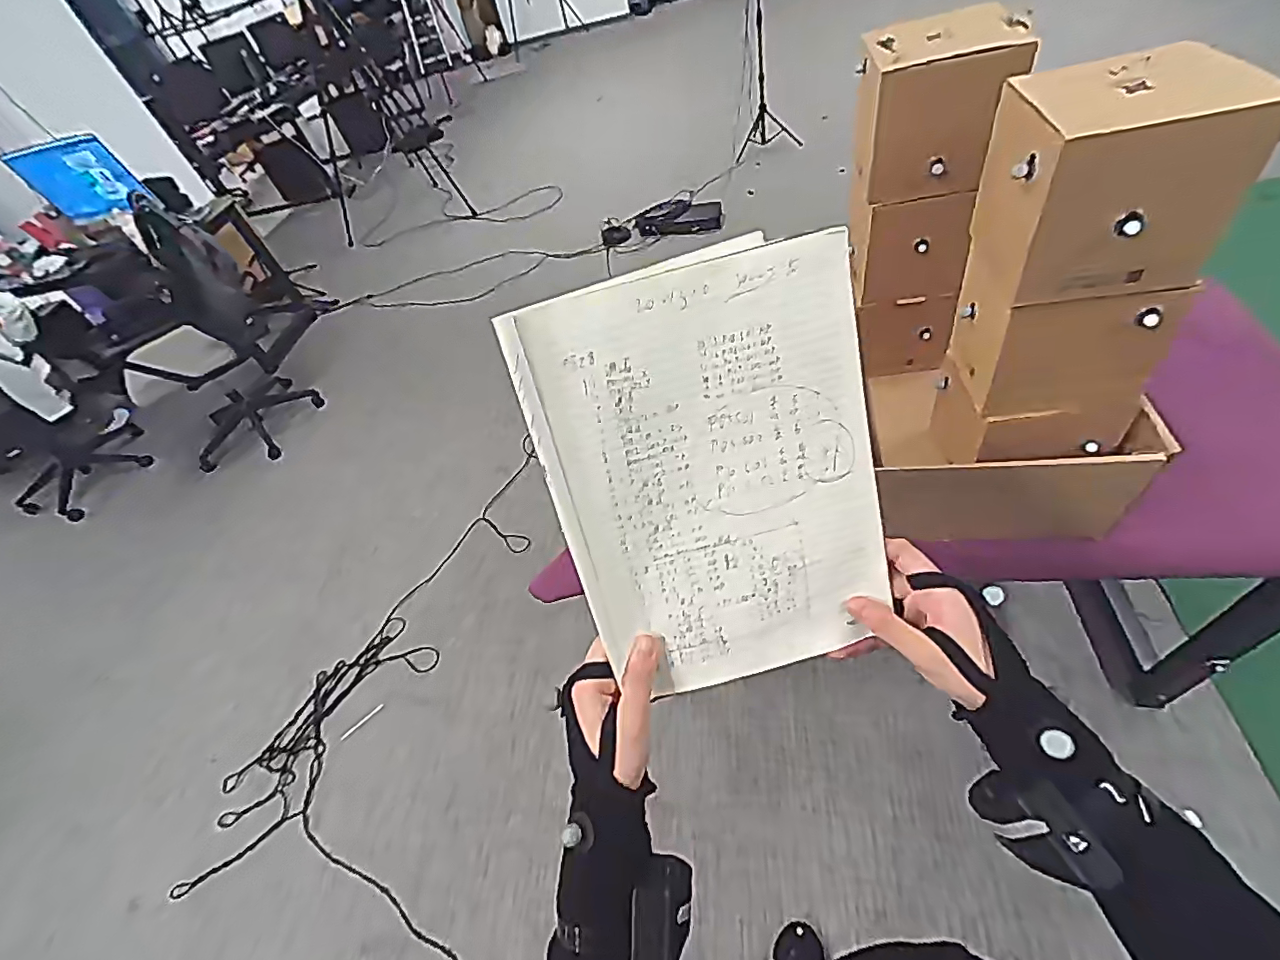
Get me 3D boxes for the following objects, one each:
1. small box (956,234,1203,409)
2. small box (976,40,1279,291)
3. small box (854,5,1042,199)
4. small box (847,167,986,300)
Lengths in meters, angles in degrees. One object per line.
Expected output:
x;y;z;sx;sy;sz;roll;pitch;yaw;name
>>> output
0.515;-0.203;0.674;0.179;0.176;0.168;-2;49;14;small box
0.473;-0.309;0.555;0.168;0.176;0.179;-2;48;14;small box
0.411;-0.523;0.759;0.179;0.176;0.168;-2;51;13;small box
0.447;-0.418;0.880;0.179;0.176;0.168;-4;51;12;small box
